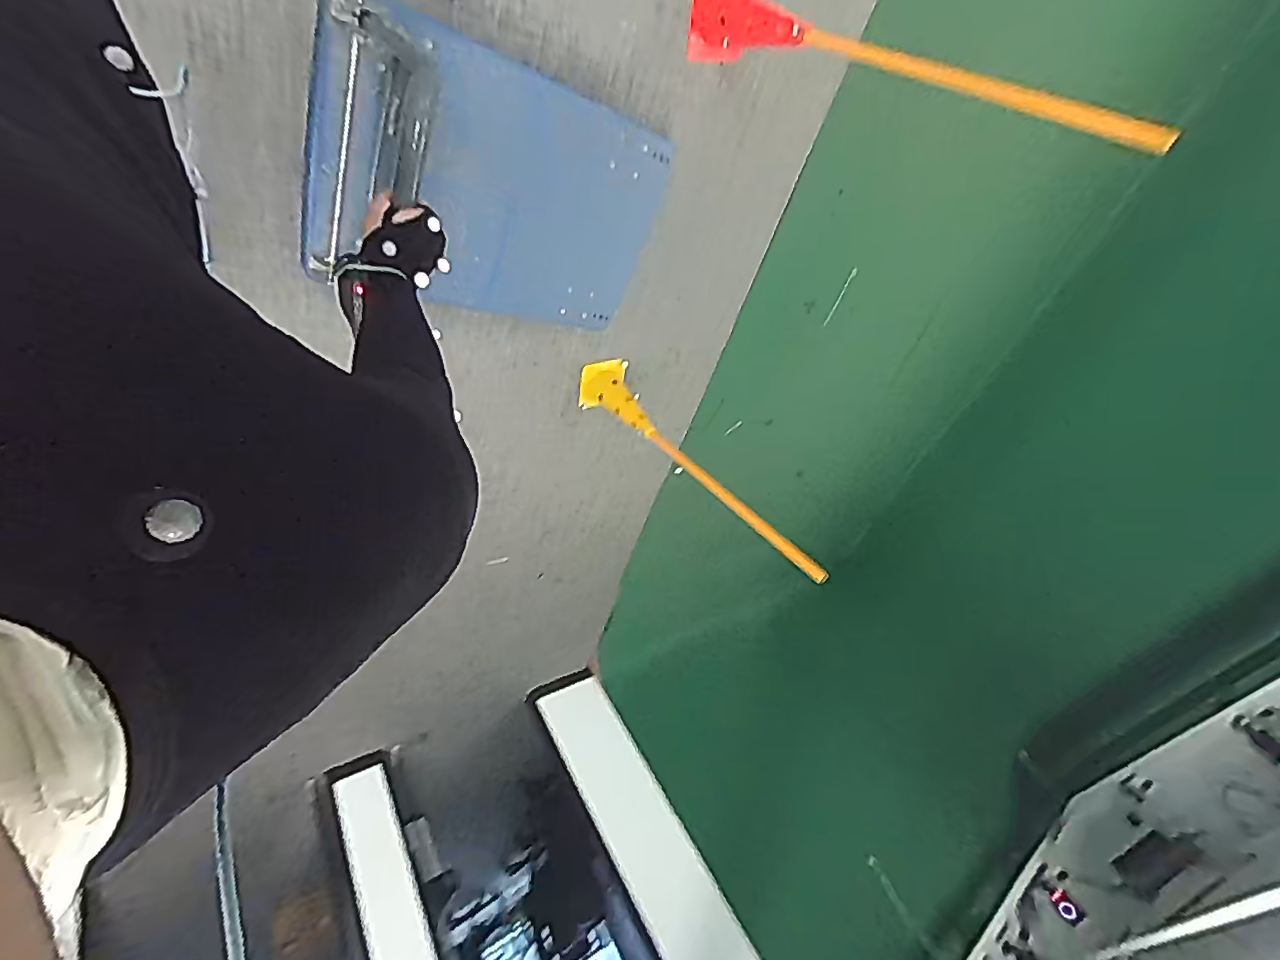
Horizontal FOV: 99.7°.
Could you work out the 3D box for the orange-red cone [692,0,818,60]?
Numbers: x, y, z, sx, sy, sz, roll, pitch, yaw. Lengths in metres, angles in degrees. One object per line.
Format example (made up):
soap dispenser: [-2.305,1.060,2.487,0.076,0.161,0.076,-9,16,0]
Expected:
orange-red cone: [0.323,-1.191,1.406,0.198,0.360,0.199,-21,140,-26]
